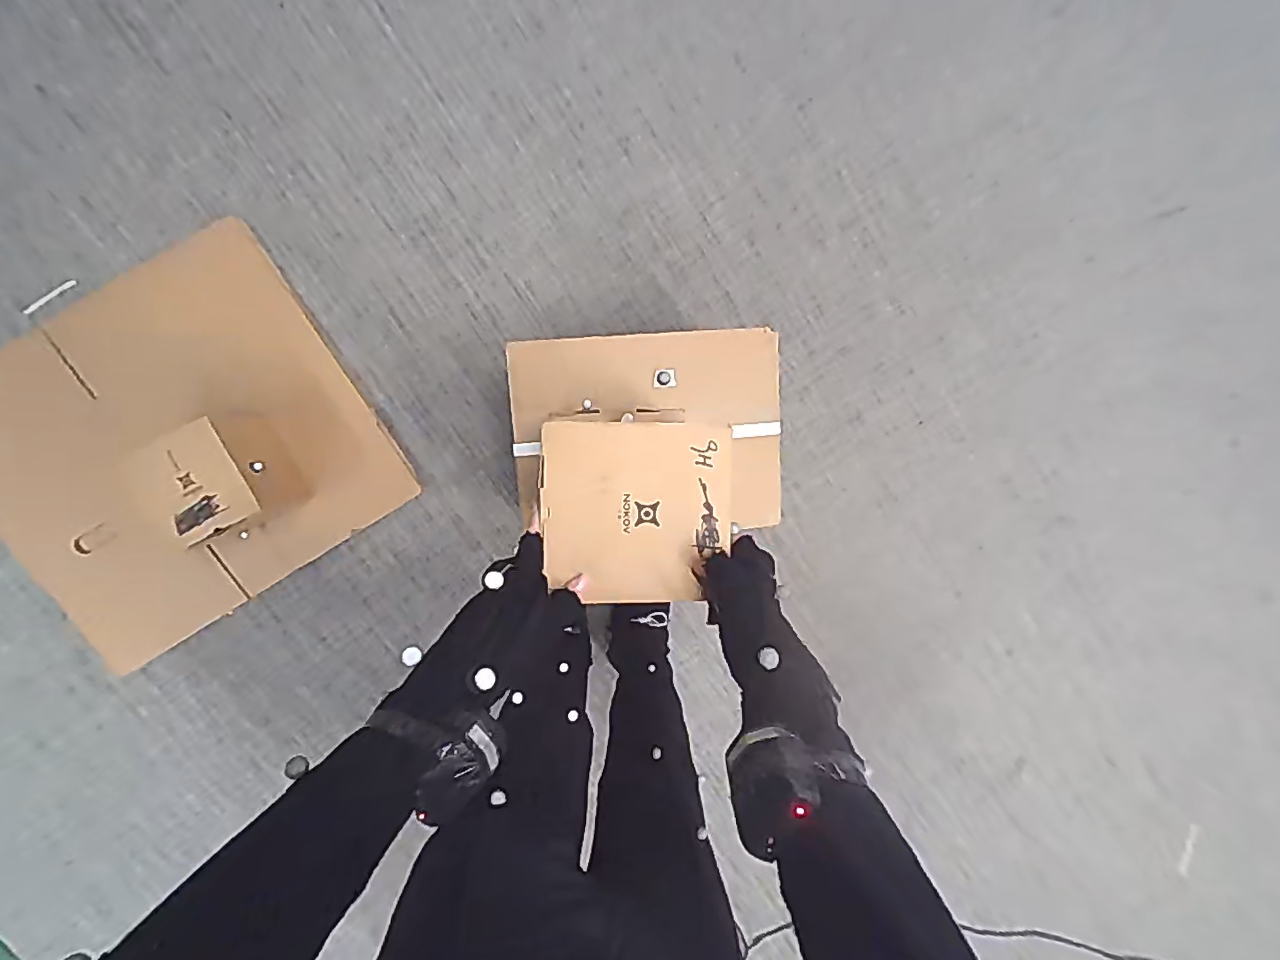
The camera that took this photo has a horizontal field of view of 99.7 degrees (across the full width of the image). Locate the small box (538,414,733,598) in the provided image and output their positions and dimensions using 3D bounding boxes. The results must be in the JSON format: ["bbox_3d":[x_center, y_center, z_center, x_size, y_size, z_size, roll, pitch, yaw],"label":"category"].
[{"bbox_3d":[-0.009,0.023,0.577,0.179,0.176,0.168,-3,91,-5],"label":"small box"}]

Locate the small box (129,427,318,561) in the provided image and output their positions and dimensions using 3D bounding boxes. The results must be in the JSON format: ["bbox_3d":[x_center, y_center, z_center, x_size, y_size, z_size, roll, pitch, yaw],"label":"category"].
[{"bbox_3d":[-0.723,0.016,0.965,0.168,0.176,0.179,-28,96,-2],"label":"small box"}]
